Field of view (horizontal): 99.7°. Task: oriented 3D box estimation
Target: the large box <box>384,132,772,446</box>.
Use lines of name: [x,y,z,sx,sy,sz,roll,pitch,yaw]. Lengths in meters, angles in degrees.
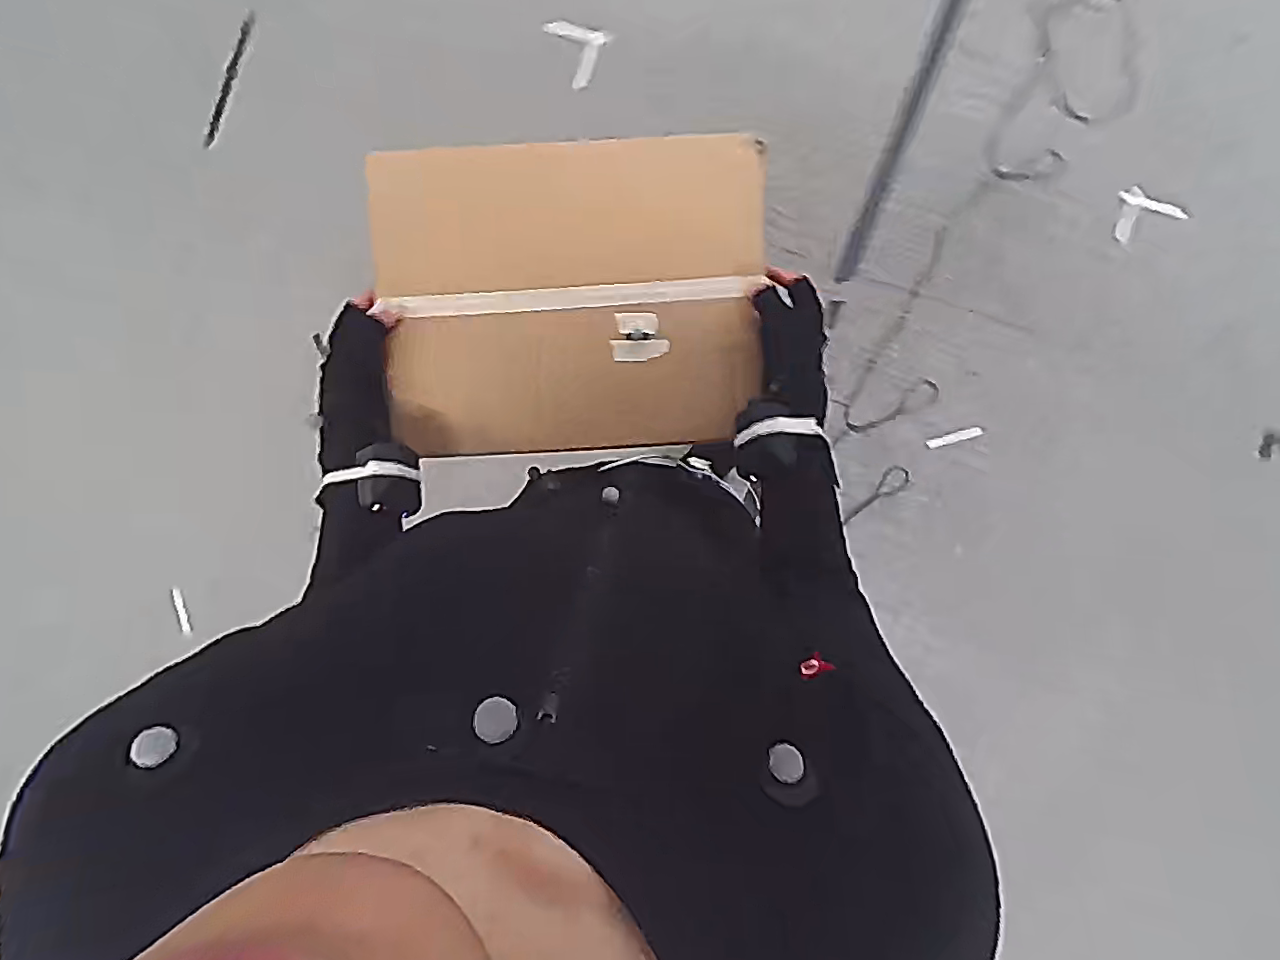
large box: [-0.066,-0.212,0.724,0.408,0.320,0.320,-3,95,-1]
